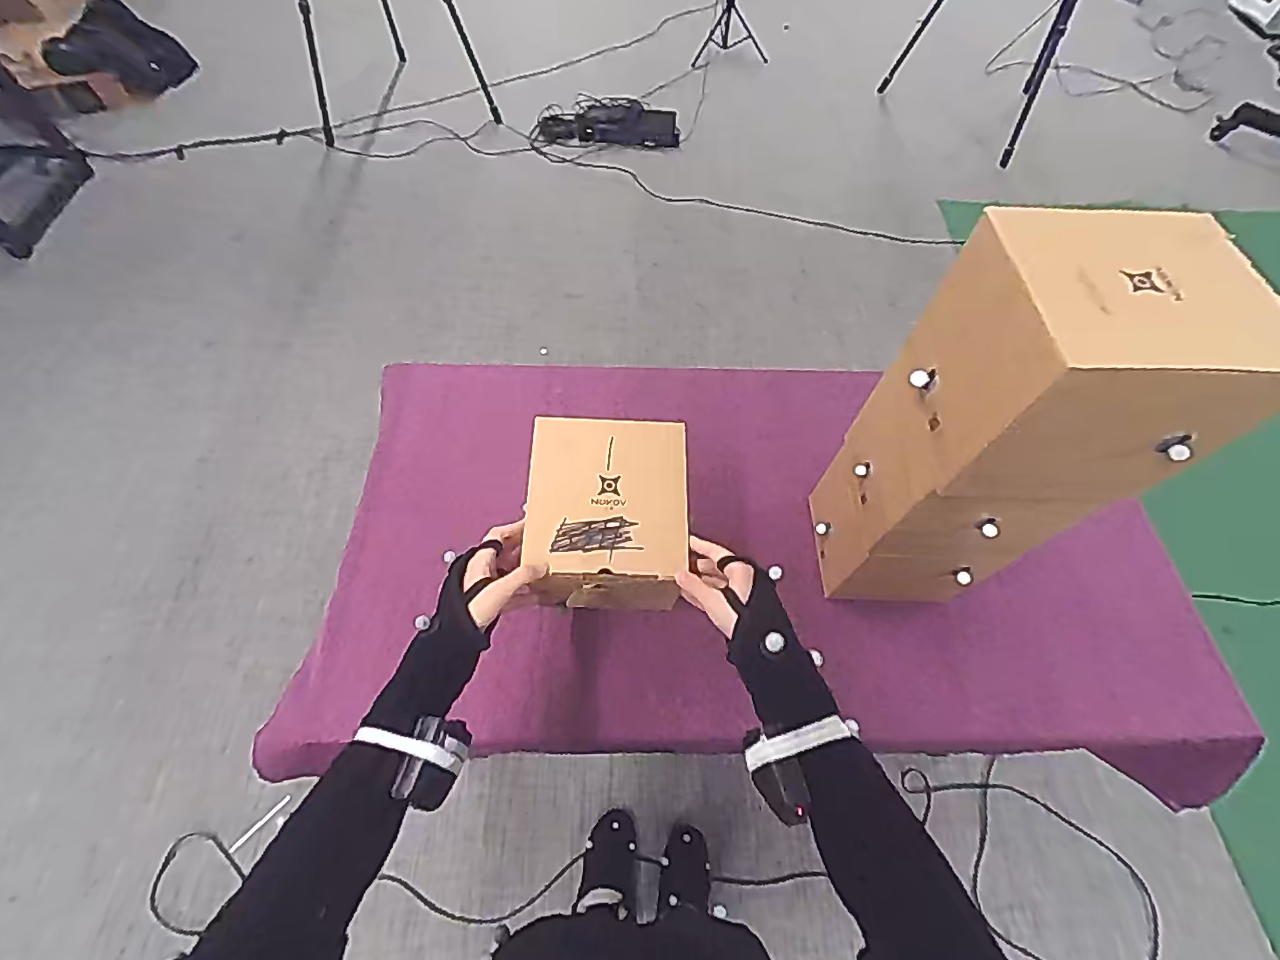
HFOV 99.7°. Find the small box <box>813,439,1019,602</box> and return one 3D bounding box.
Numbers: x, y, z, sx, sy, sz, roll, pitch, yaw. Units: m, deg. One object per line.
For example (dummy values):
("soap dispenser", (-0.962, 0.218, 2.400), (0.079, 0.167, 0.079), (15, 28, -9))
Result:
("small box", (0.354, 0.061, 0.733), (0.179, 0.176, 0.168), (2, 60, -1))

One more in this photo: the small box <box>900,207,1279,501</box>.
("small box", (0.348, -0.093, 0.442), (0.179, 0.176, 0.168), (2, 59, 0))

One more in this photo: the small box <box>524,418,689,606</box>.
("small box", (-0.034, 0.046, 0.632), (0.168, 0.176, 0.179), (2, 65, -3))
